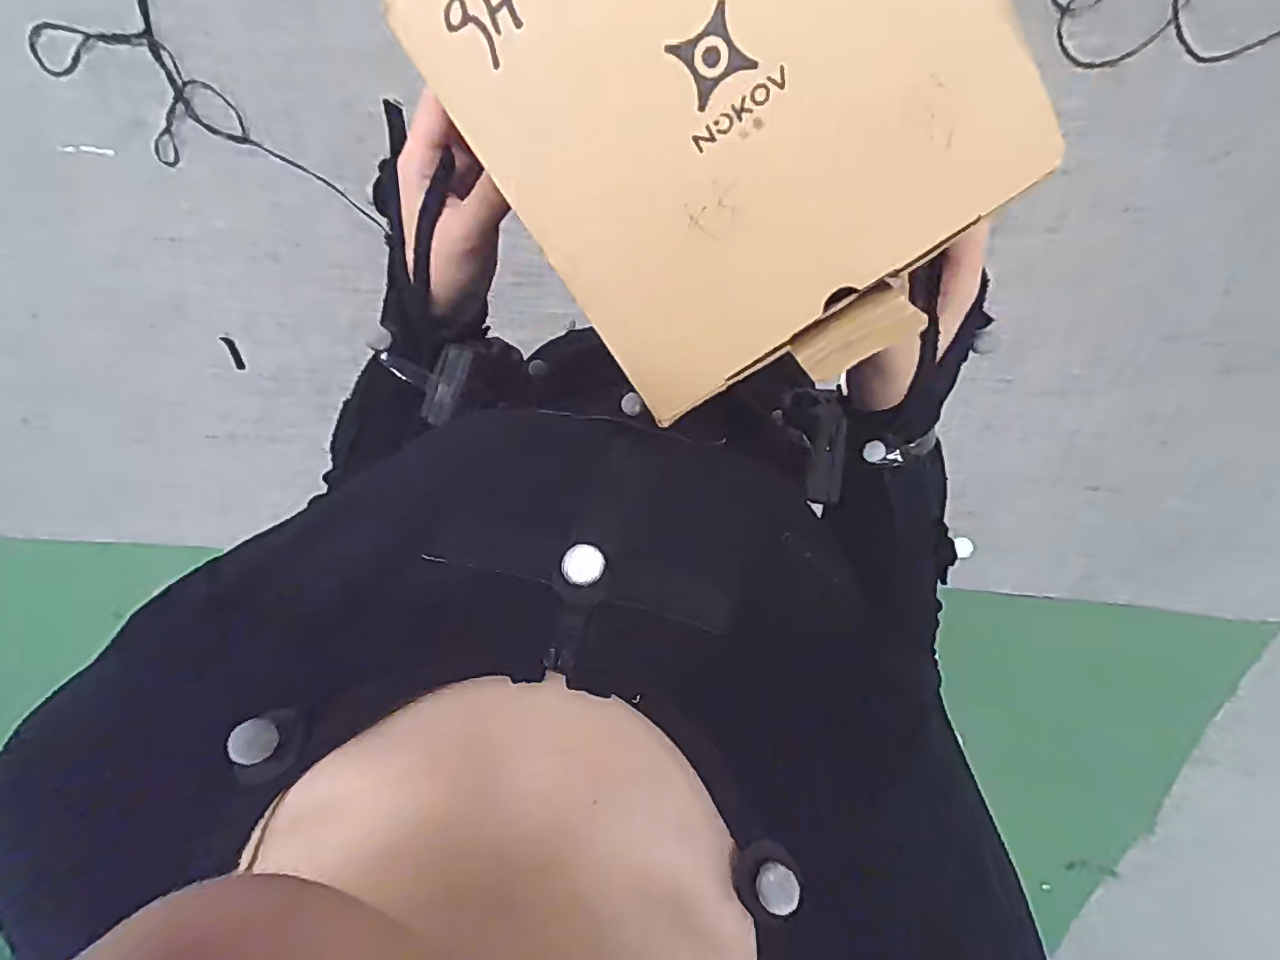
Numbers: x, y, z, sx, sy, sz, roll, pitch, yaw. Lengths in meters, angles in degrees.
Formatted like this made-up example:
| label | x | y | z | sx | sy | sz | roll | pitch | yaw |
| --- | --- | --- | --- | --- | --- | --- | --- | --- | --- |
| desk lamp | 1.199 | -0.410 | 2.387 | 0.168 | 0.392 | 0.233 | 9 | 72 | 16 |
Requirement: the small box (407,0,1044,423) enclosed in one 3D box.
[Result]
| label | x | y | z | sx | sy | sz | roll | pitch | yaw |
| --- | --- | --- | --- | --- | --- | --- | --- | --- | --- |
| small box | 0.037 | -0.157 | 0.265 | 0.168 | 0.176 | 0.179 | -31 | 104 | 13 |
